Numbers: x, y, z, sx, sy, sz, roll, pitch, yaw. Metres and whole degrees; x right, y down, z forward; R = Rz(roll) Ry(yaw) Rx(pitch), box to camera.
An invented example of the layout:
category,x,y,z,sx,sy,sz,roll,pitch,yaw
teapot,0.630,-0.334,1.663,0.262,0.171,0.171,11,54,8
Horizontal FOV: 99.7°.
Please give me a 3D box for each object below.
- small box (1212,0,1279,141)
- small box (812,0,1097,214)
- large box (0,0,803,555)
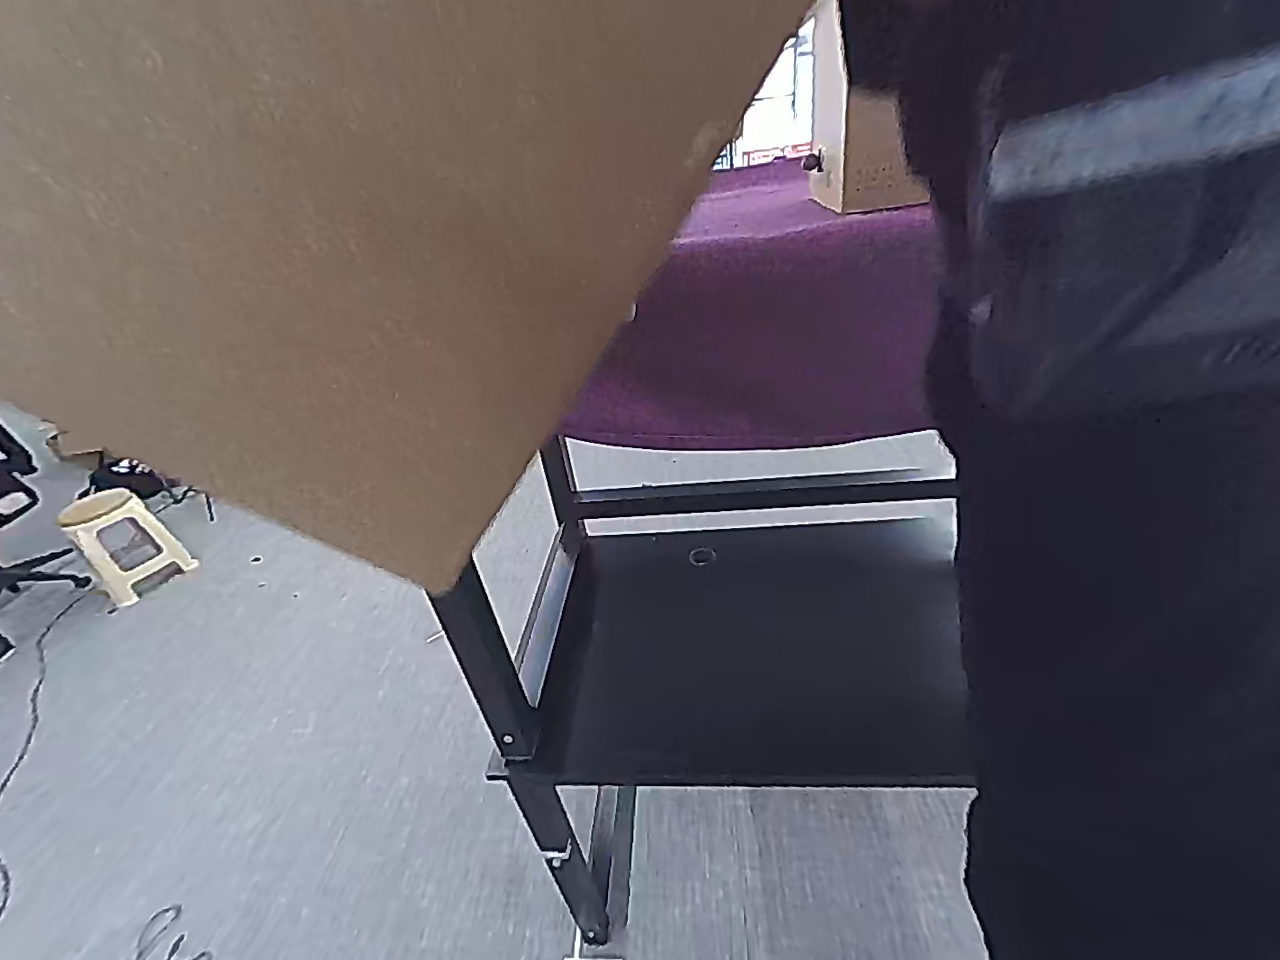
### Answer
category,x,y,z,sx,sy,sz,roll,pitch,yaw
small box,0.615,-0.363,0.407,0.179,0.176,0.168,-5,30,6
small box,0.257,-0.348,0.483,0.179,0.176,0.168,-4,30,9
large box,-0.156,-0.223,0.176,0.408,0.320,0.320,28,56,-13
